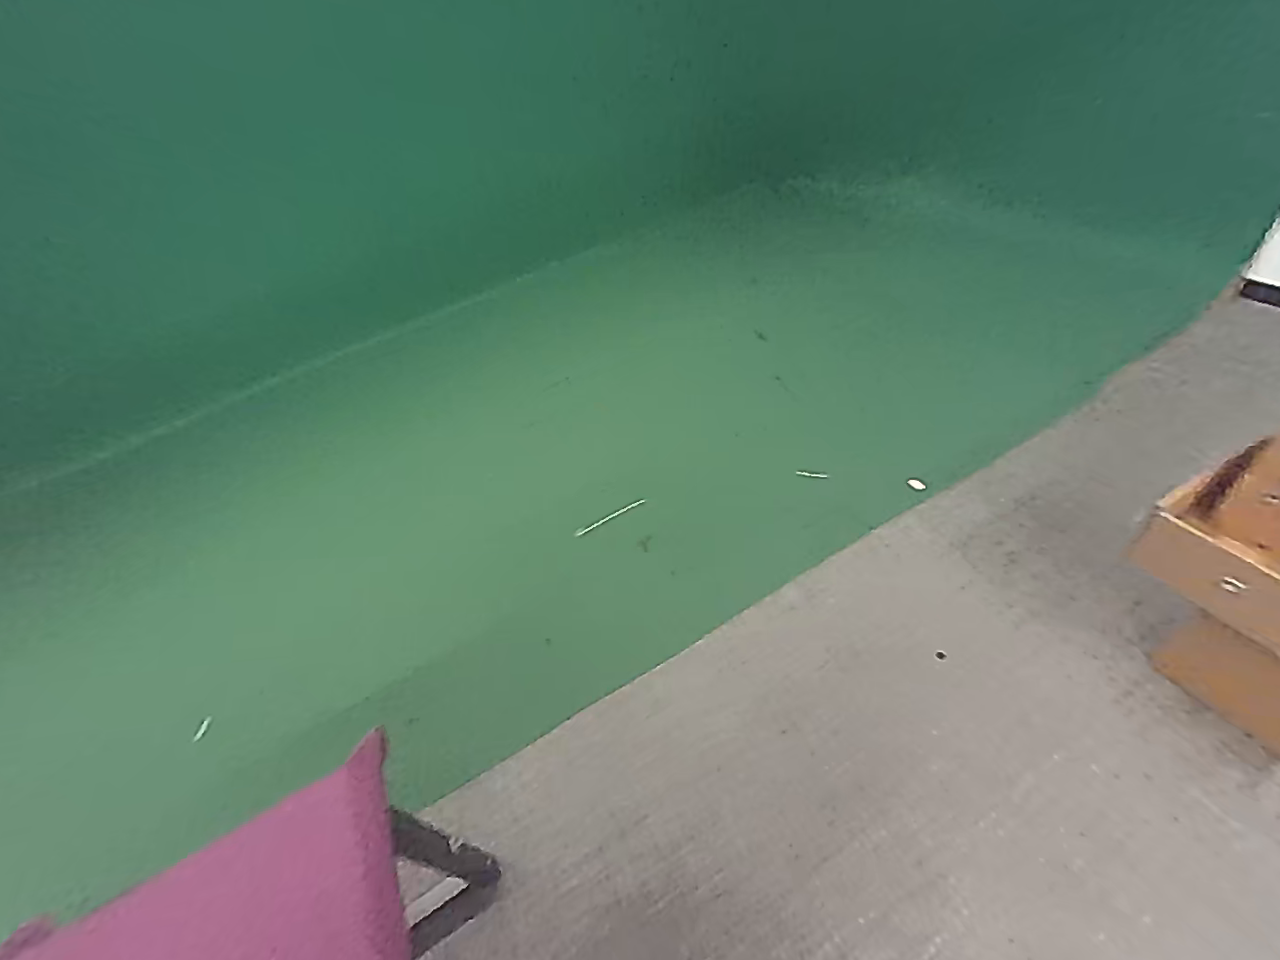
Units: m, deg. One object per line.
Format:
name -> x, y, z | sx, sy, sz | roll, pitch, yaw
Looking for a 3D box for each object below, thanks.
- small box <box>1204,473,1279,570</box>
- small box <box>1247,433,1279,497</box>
small box -> 1.411, 0.063, 1.178 | 0.179, 0.176, 0.168 | -26, 46, -11
small box -> 1.381, -0.049, 1.063 | 0.179, 0.176, 0.168 | -25, 44, -9
